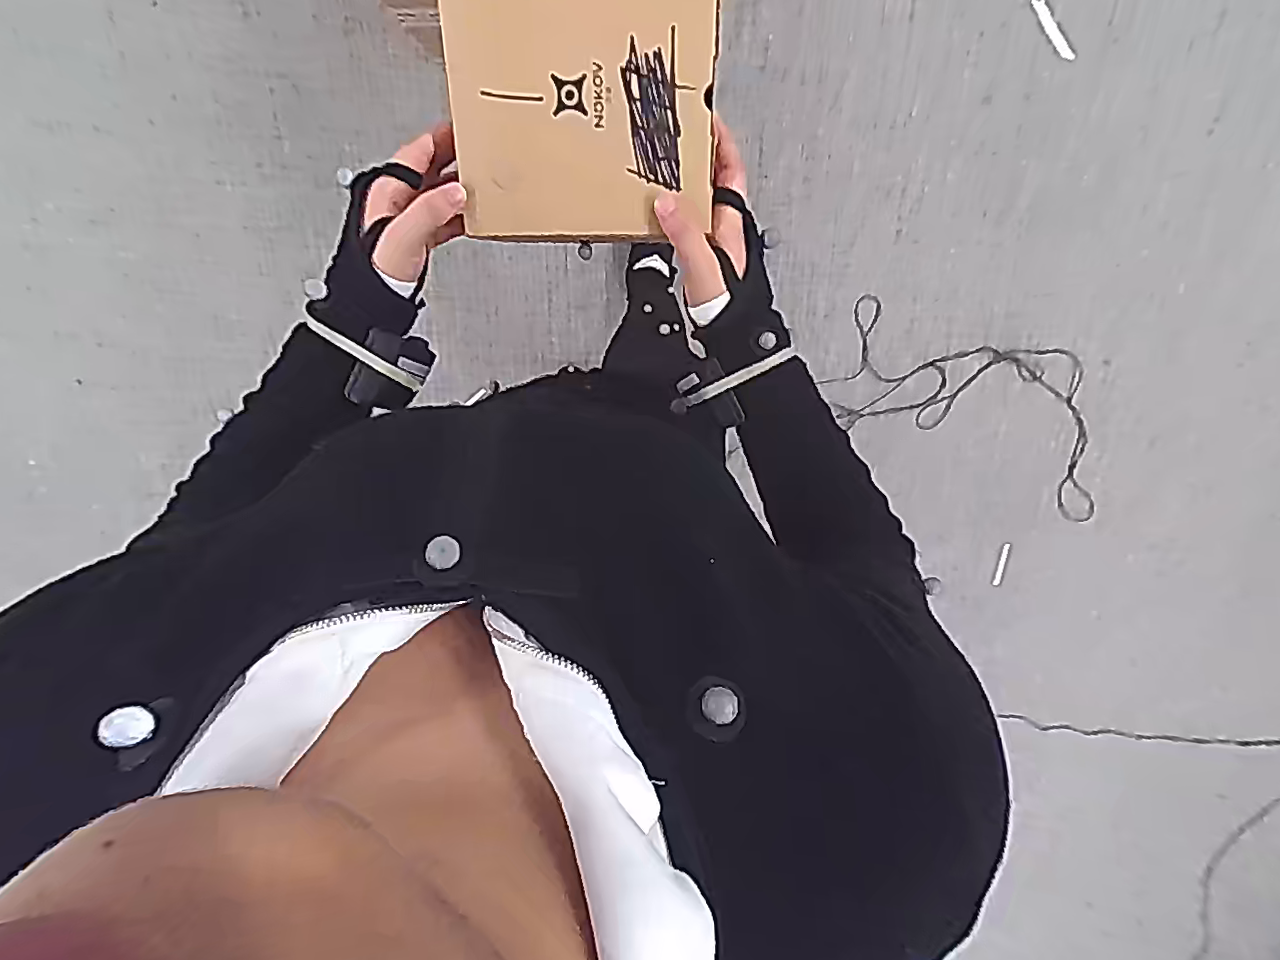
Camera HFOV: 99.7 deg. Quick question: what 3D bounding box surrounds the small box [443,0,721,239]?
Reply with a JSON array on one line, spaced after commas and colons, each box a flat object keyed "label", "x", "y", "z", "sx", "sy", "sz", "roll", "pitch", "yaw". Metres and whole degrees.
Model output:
[{"label": "small box", "x": -0.037, "y": -0.287, "z": 0.429, "sx": 0.179, "sy": 0.176, "sz": 0.168, "roll": 0, "pitch": 112, "yaw": 0}]
